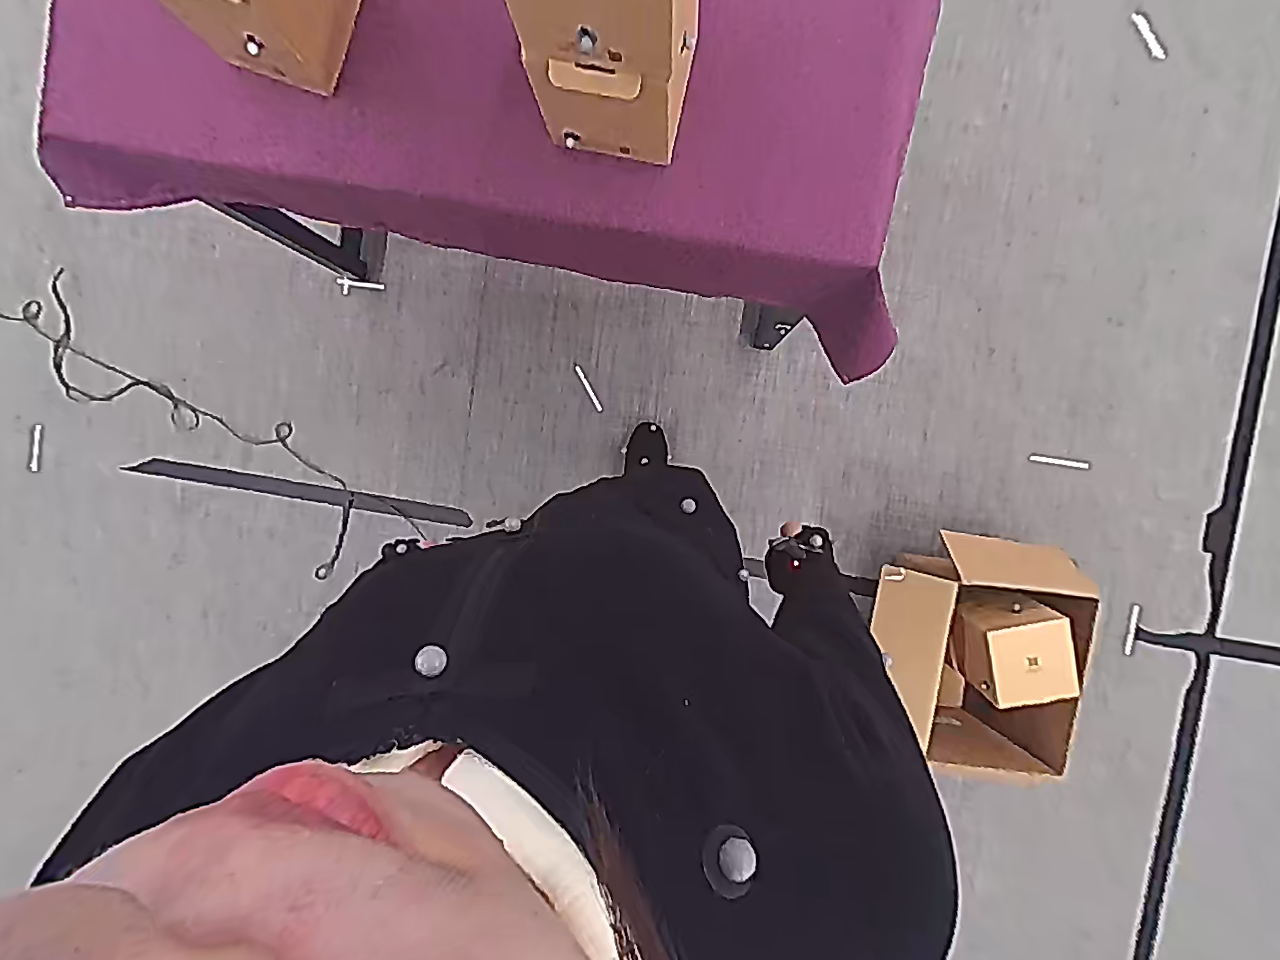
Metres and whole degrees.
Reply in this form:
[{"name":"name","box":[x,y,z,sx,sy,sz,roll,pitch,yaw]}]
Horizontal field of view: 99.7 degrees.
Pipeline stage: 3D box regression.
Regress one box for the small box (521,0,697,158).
[{"name":"small box","box":[-0.027,-0.525,0.649,0.168,0.176,0.179,12,93,2]}]

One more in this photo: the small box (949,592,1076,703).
[{"name":"small box","box":[0.819,0.362,1.206,0.168,0.176,0.179,-13,97,6]}]

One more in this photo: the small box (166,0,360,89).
[{"name":"small box","box":[-0.478,-0.637,0.666,0.168,0.176,0.179,20,94,1]}]
